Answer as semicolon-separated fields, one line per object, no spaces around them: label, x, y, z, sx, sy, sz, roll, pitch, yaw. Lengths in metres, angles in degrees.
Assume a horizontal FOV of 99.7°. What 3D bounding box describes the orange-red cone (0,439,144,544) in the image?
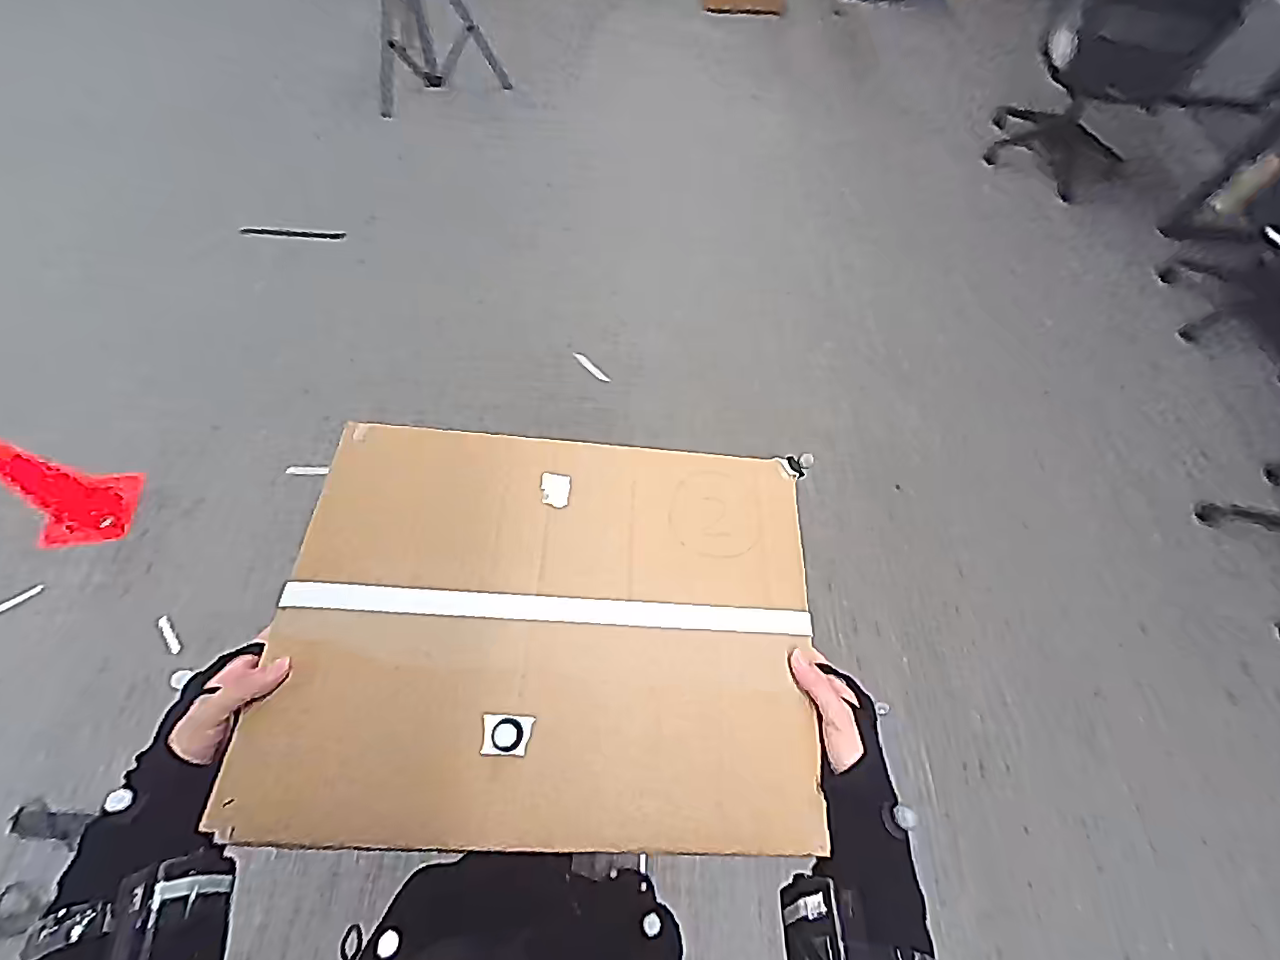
orange-red cone;-1.425;-0.010;1.274;0.198;0.360;0.199;-4;60;-8
